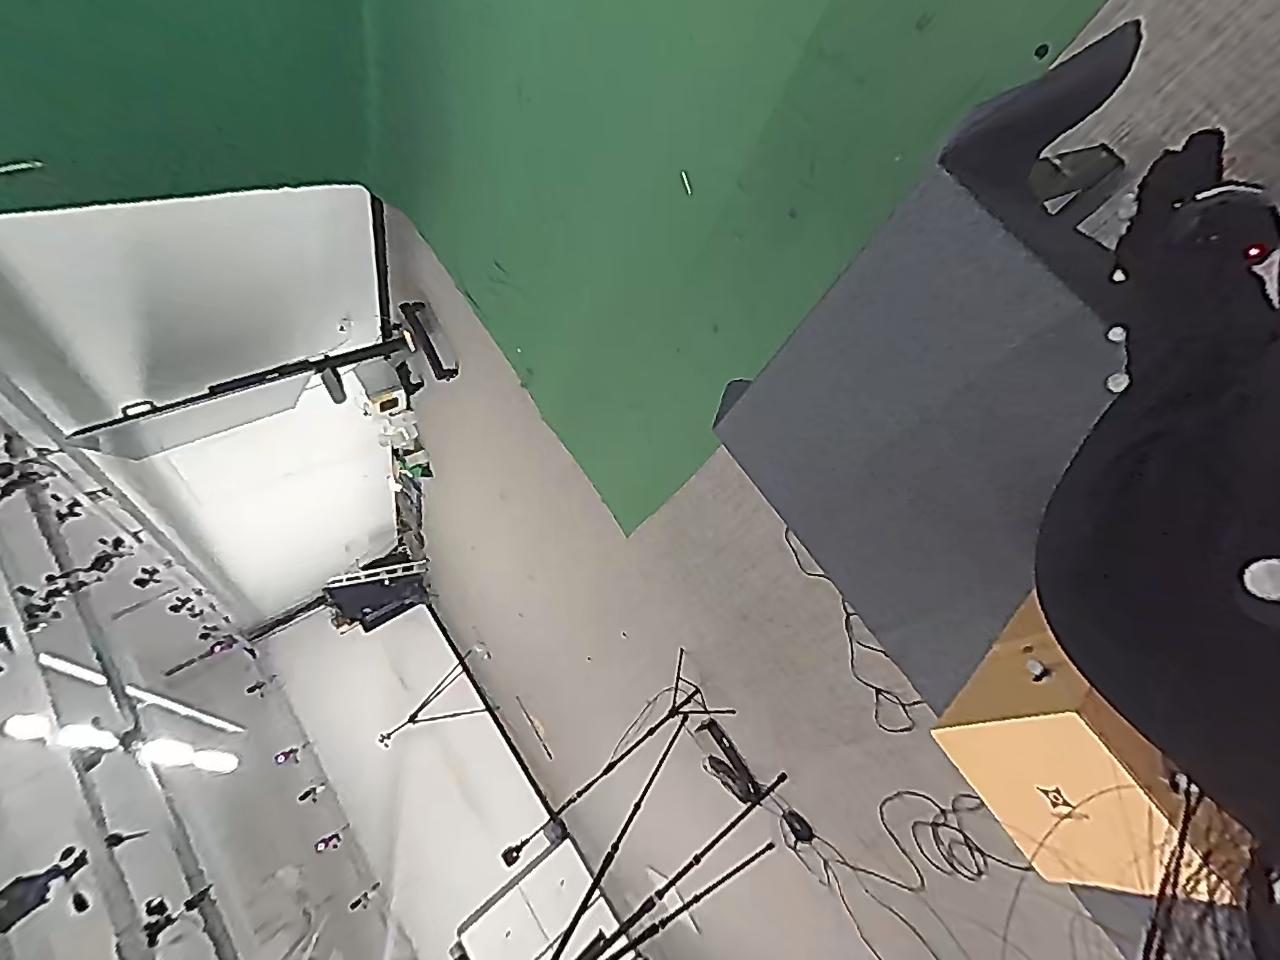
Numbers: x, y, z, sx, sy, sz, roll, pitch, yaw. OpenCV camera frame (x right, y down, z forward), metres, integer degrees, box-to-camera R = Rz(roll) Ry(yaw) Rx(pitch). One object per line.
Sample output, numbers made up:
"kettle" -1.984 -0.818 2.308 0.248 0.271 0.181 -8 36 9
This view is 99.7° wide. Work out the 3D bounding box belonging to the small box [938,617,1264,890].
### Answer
"small box" 0.460 0.261 0.550 0.179 0.176 0.168 54 147 13
